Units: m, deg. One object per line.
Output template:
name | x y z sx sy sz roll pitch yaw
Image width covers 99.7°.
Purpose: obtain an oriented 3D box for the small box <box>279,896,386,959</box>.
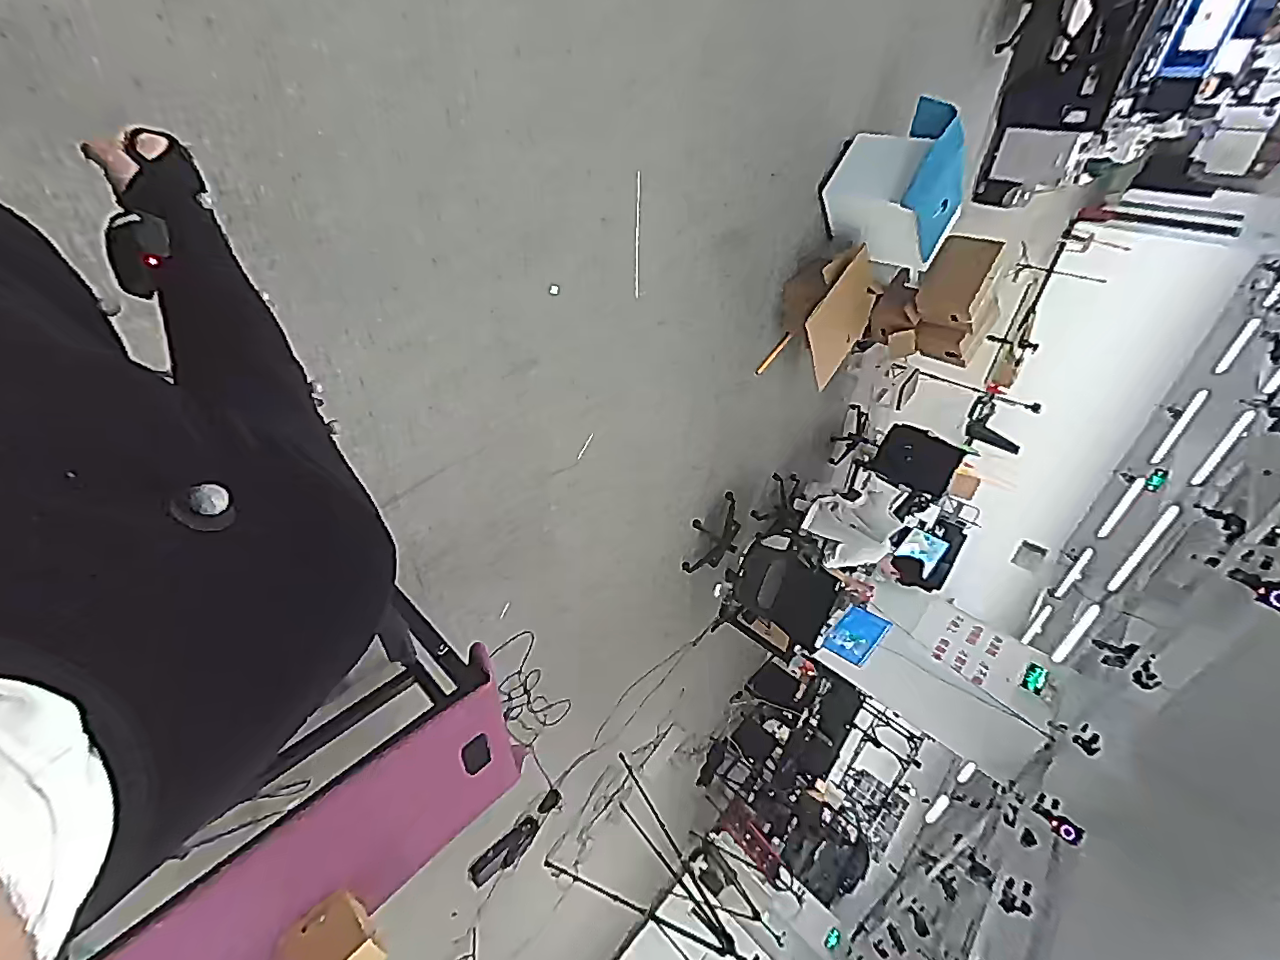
small box | -0.775 1.215 1.374 0.168 0.176 0.179 -33 138 -36
